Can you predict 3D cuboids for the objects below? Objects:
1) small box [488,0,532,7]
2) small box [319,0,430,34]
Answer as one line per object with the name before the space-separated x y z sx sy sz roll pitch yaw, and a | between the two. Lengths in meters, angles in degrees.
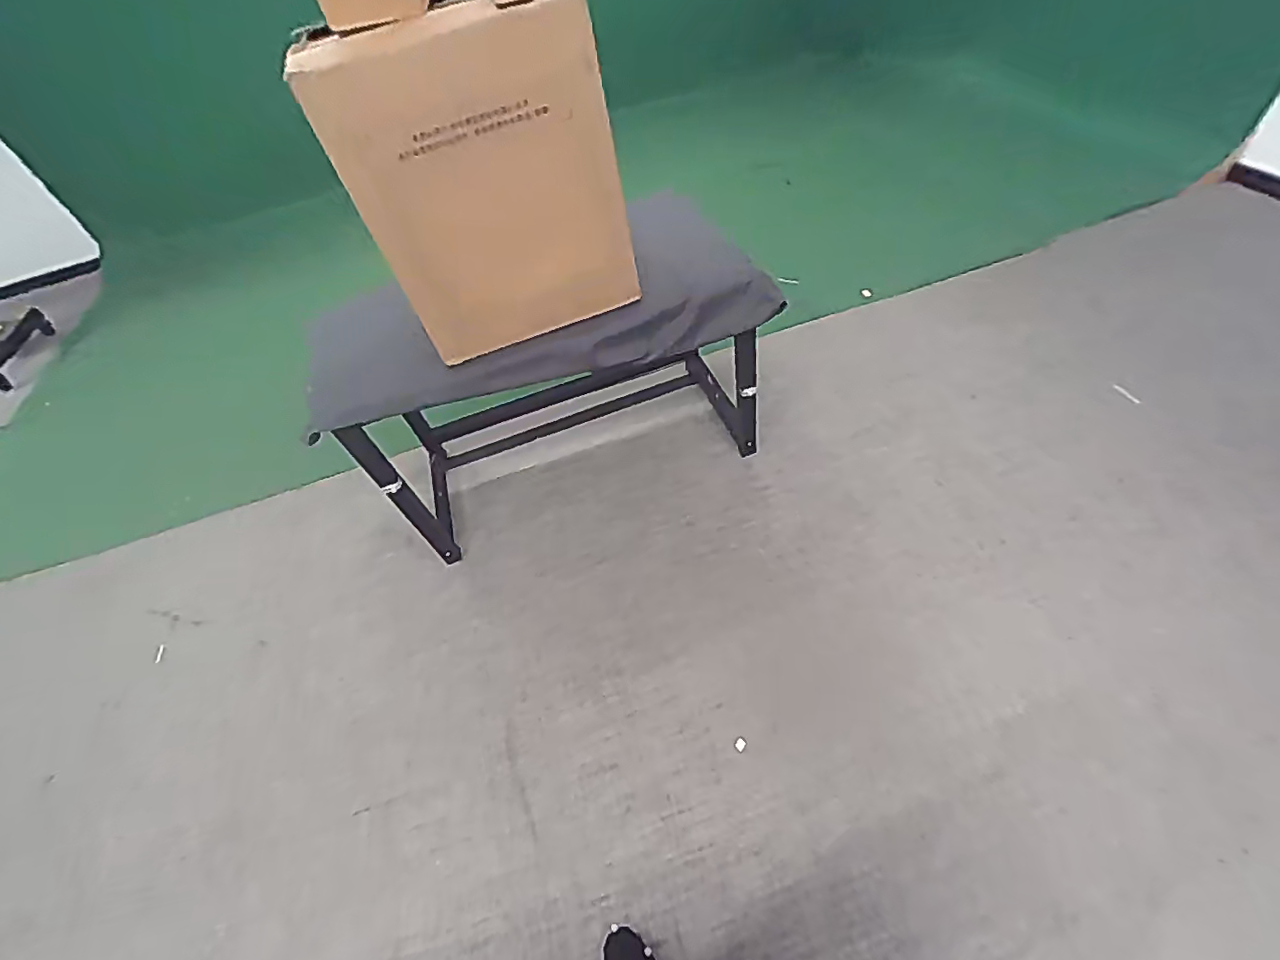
small box | -0.213 -0.945 0.927 0.168 0.176 0.179 -21 51 -6
small box | -0.491 -0.927 0.954 0.179 0.176 0.168 -10 59 3
